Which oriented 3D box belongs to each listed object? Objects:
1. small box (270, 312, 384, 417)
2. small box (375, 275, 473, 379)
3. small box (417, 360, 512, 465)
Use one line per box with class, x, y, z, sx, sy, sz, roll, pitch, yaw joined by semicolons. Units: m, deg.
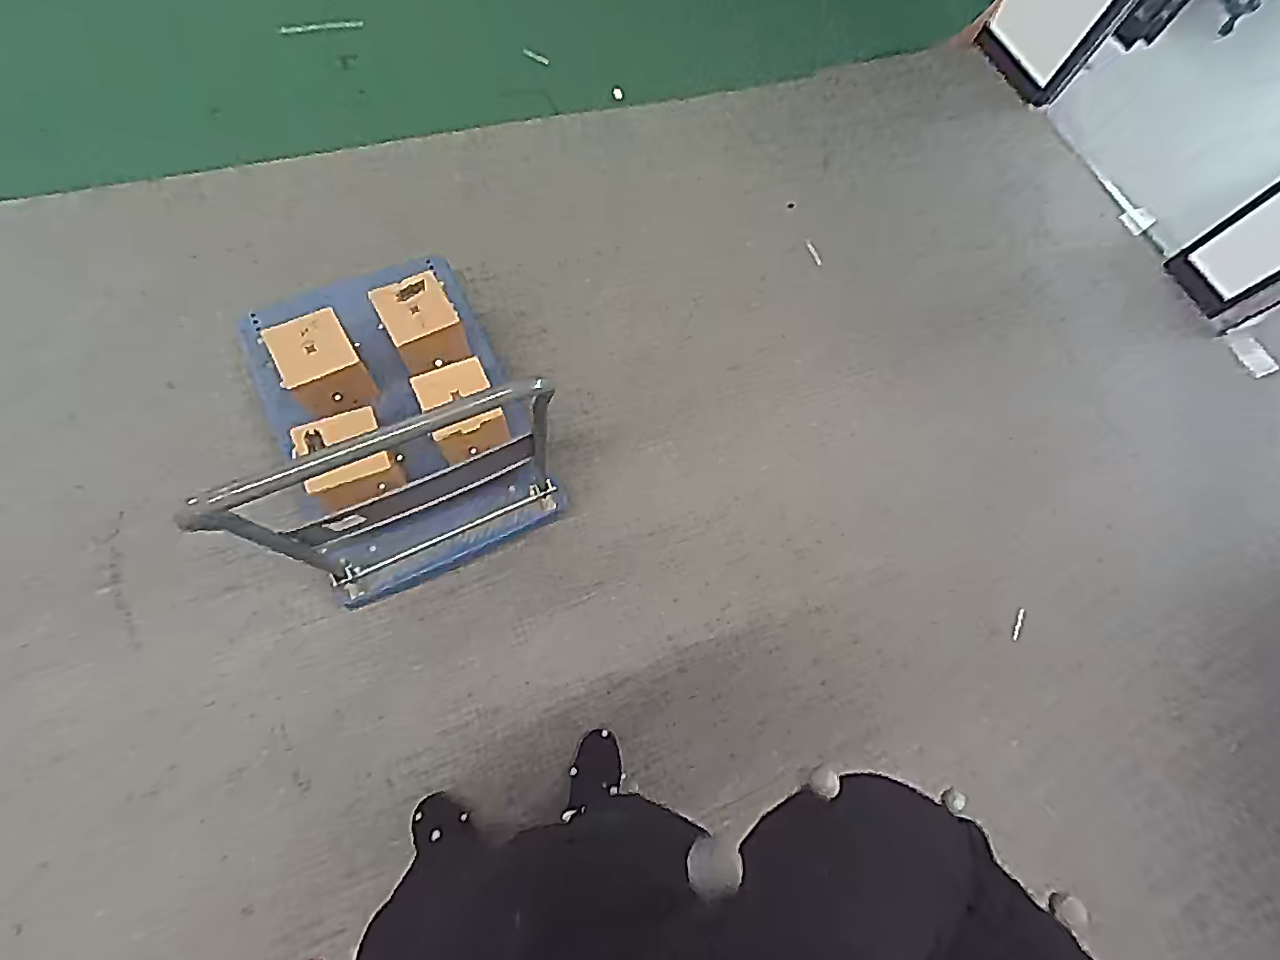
small box;-0.773;-0.280;1.355;0.168;0.176;0.179;-28;76;-17
small box;-0.561;-0.396;1.425;0.168;0.176;0.179;-29;77;-15
small box;-0.435;-0.166;1.360;0.168;0.176;0.179;-24;75;-15
